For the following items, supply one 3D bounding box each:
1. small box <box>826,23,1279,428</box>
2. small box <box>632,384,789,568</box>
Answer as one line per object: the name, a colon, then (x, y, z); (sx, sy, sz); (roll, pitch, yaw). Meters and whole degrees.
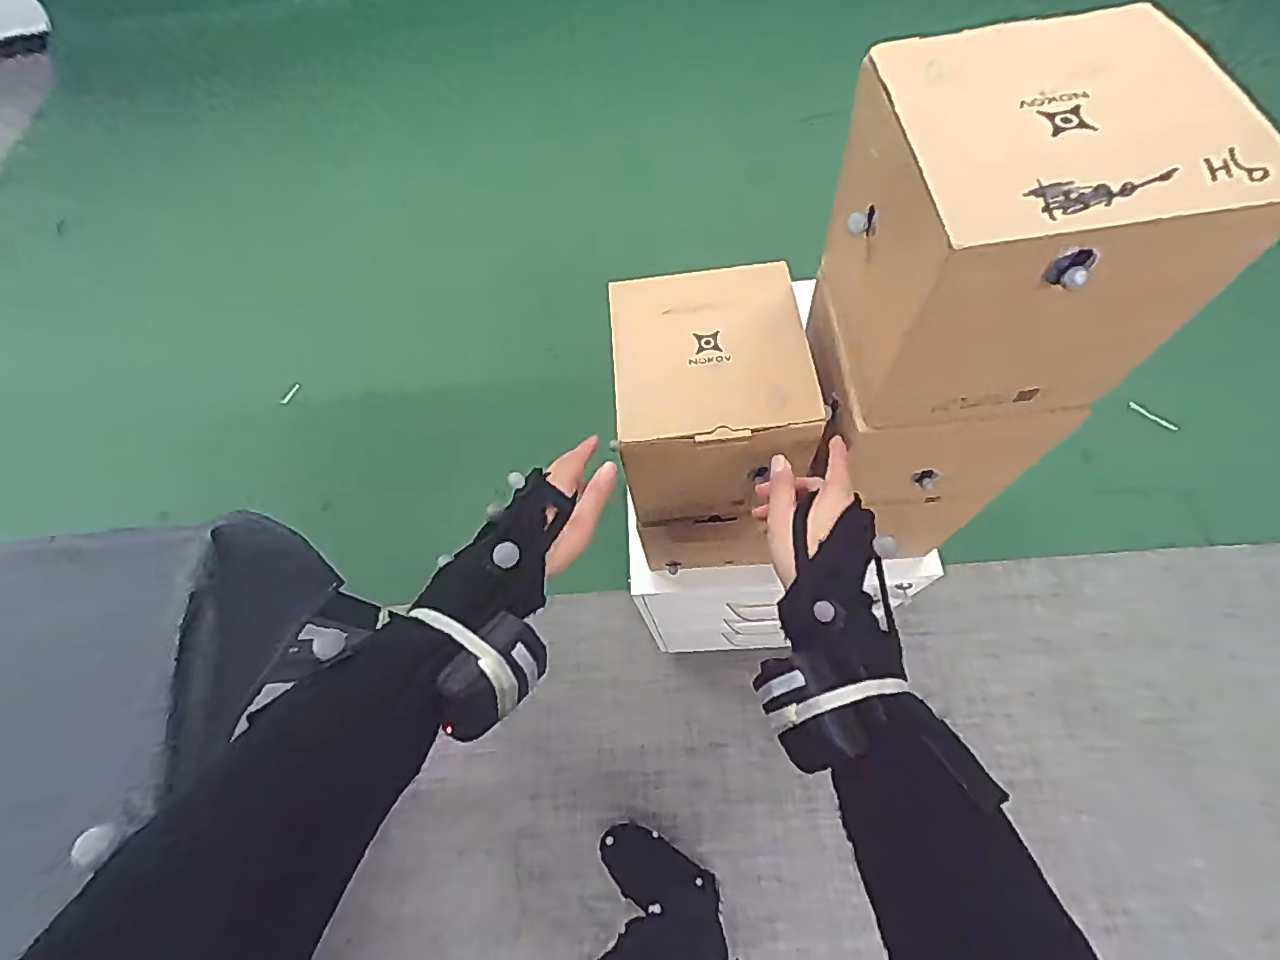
small box: (0.236, -0.157, 0.365); (0.168, 0.176, 0.179); (-6, 63, 5)
small box: (0.081, 0.005, 0.671); (0.168, 0.176, 0.179); (-4, 63, 4)
